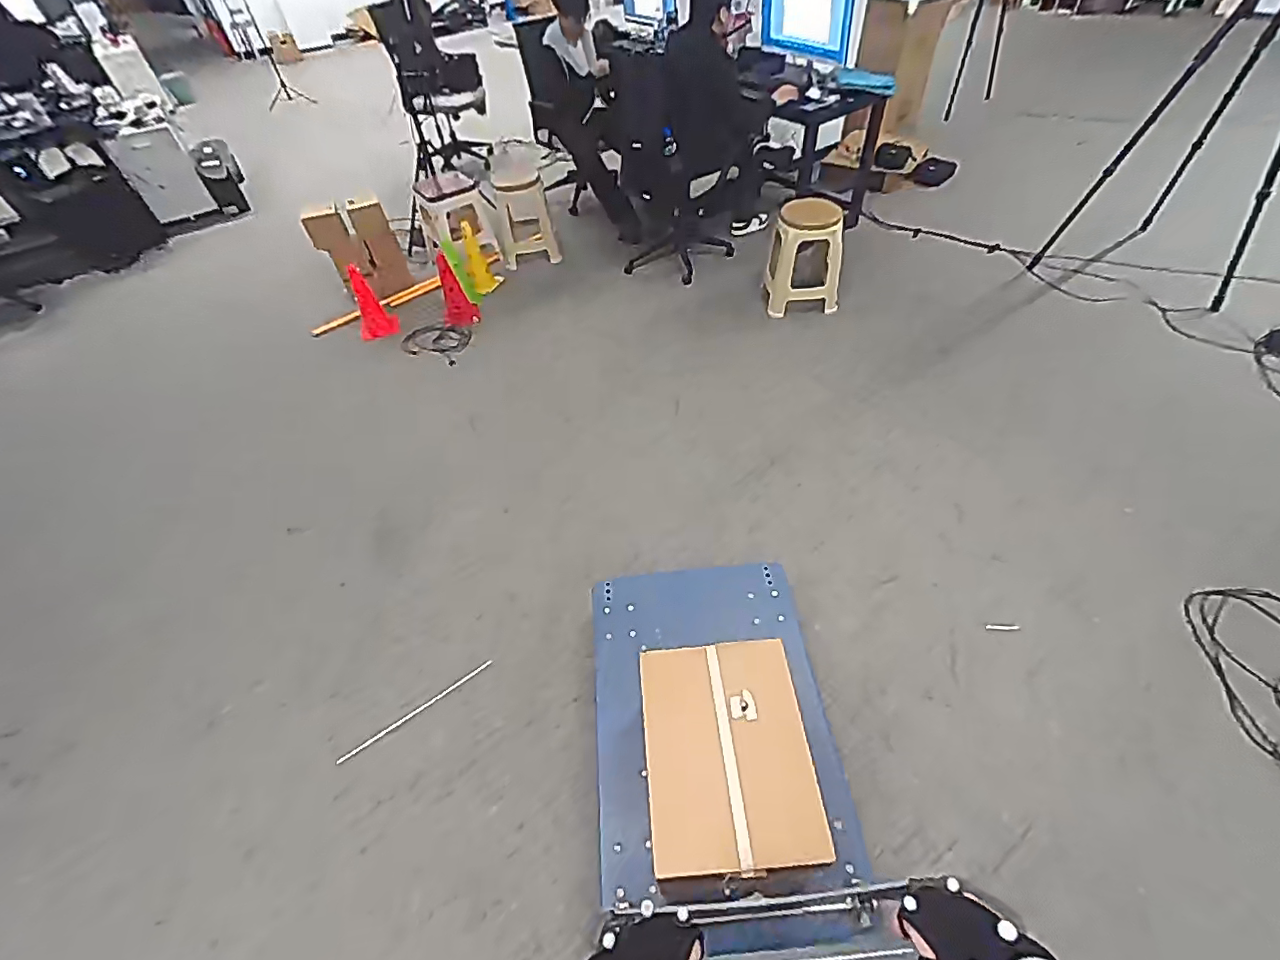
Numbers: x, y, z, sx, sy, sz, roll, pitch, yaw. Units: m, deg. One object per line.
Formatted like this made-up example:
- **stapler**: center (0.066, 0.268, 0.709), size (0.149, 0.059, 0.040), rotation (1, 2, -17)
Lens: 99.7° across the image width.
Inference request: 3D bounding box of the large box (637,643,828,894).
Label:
- **large box**: center (0.173, 0.621, 1.173), size (0.320, 0.320, 0.408), rotation (-5, 48, 0)
